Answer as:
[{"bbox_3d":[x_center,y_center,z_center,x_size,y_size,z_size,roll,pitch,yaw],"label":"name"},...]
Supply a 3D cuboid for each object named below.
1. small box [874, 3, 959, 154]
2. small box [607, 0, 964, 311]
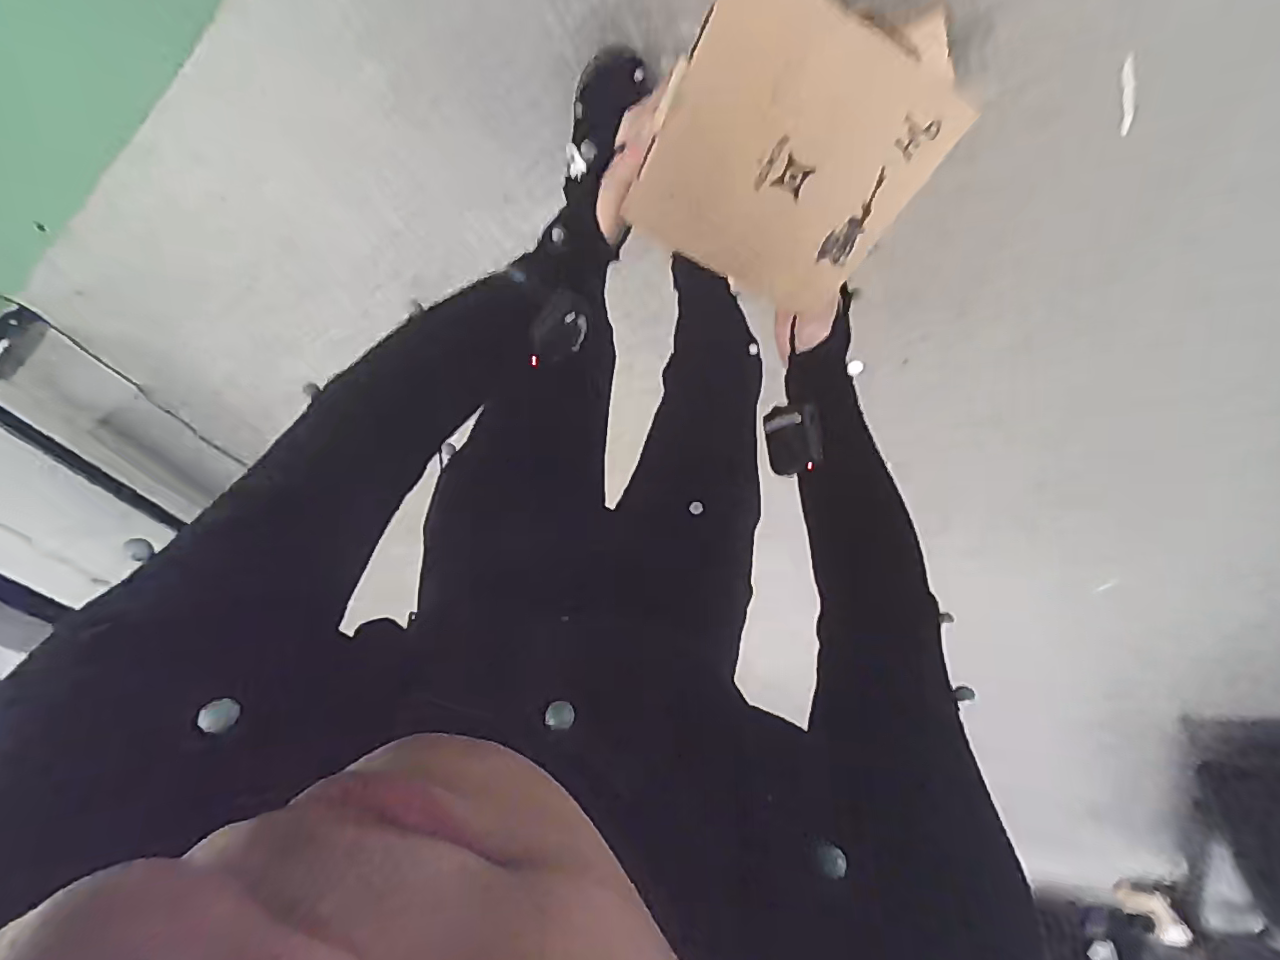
[{"bbox_3d":[0.387,-0.612,0.864,0.179,0.176,0.168,-14,131,28],"label":"small box"},{"bbox_3d":[0.097,-0.271,0.418,0.179,0.176,0.168,23,134,-12],"label":"small box"}]
